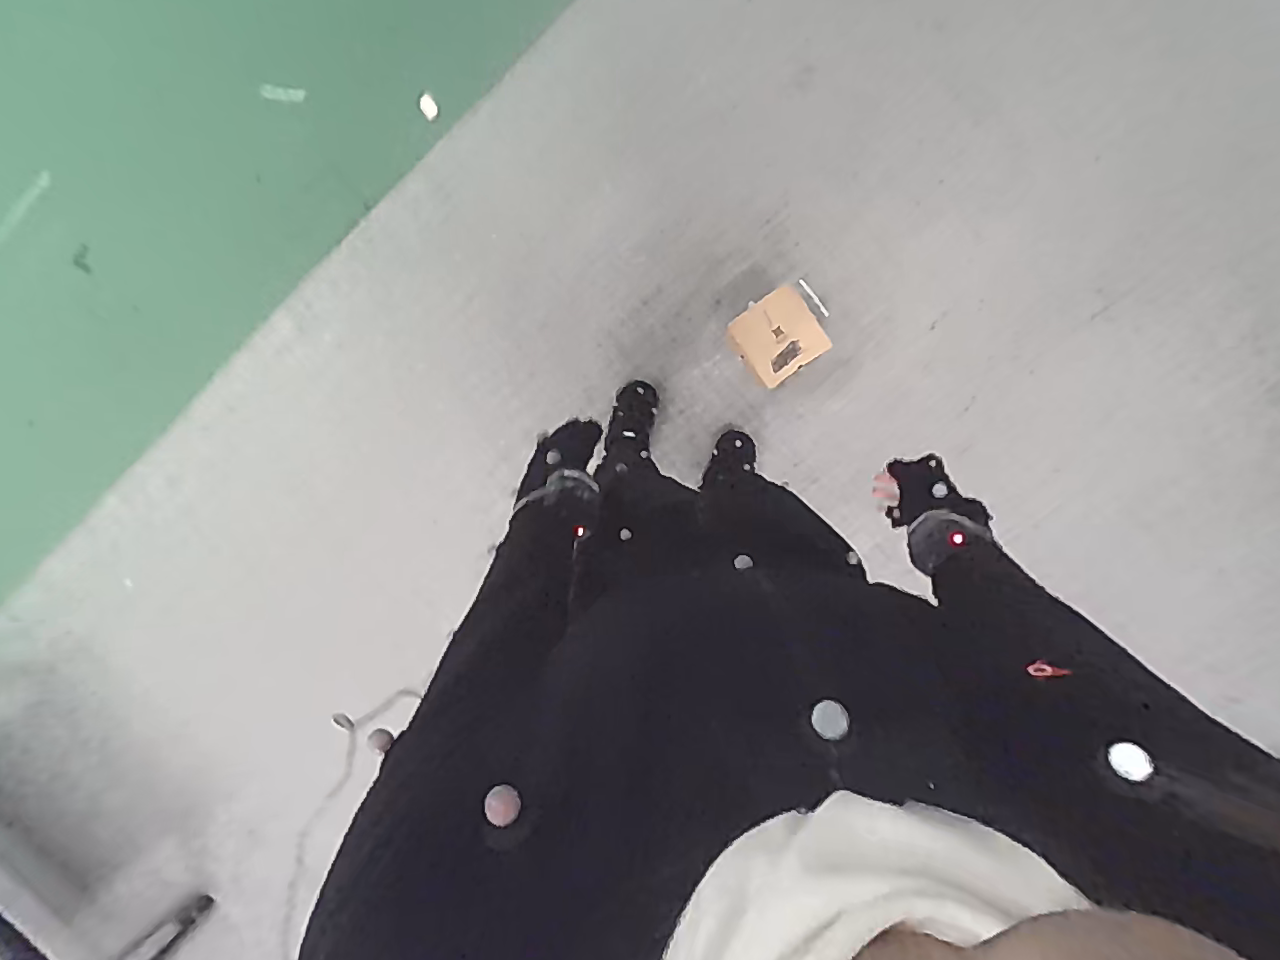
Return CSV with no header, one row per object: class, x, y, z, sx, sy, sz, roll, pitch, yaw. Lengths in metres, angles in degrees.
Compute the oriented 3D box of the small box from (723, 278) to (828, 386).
small box,0.308,-0.338,1.261,0.168,0.176,0.179,-33,94,10
